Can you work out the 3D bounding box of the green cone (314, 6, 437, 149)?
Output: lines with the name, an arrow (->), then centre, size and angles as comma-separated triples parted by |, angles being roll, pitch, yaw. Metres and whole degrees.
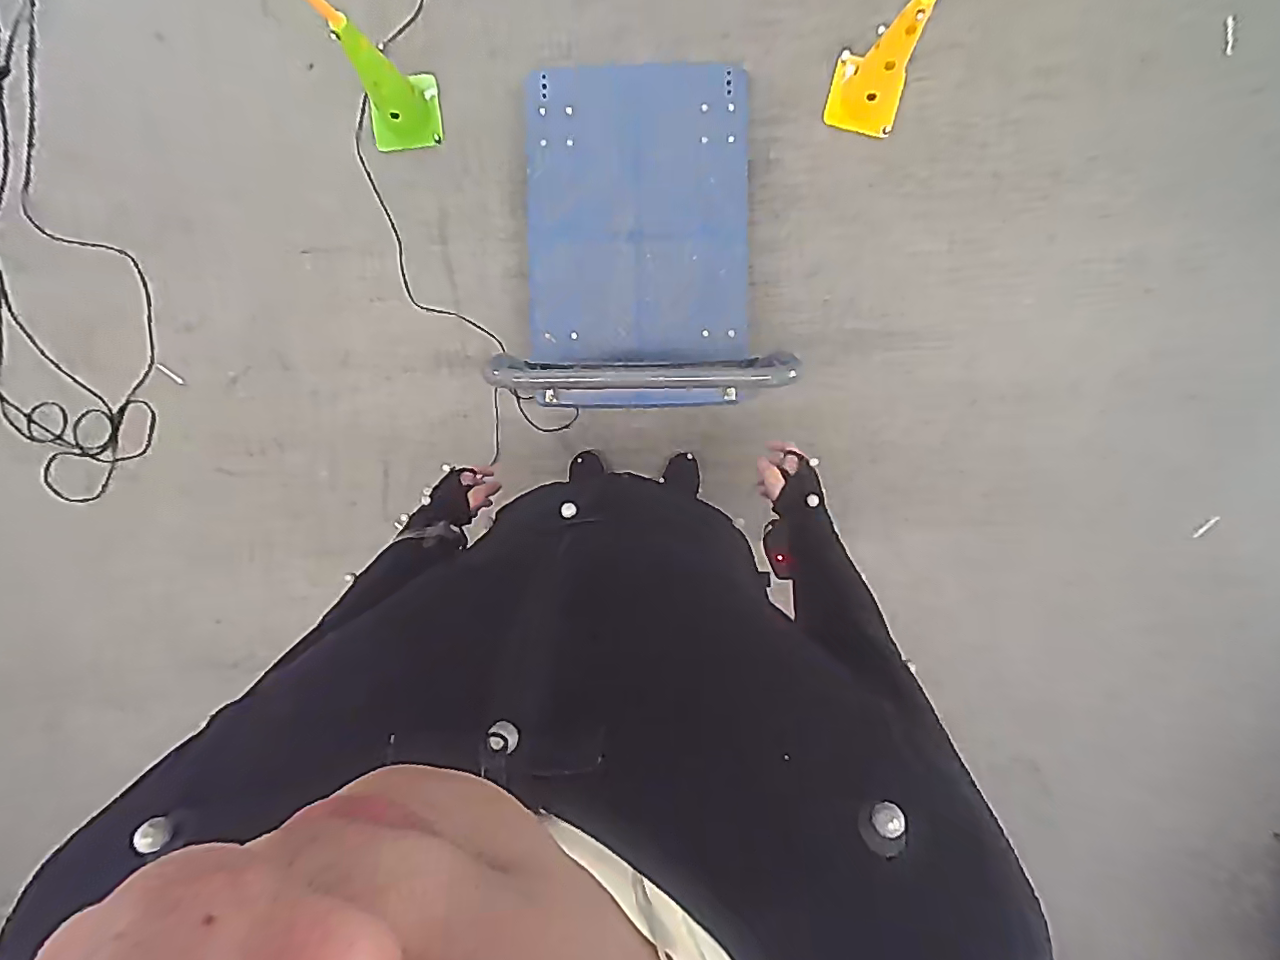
green cone -> -0.697, -1.056, 1.385 | 0.202, 0.368, 0.200 | -7, 93, 3
